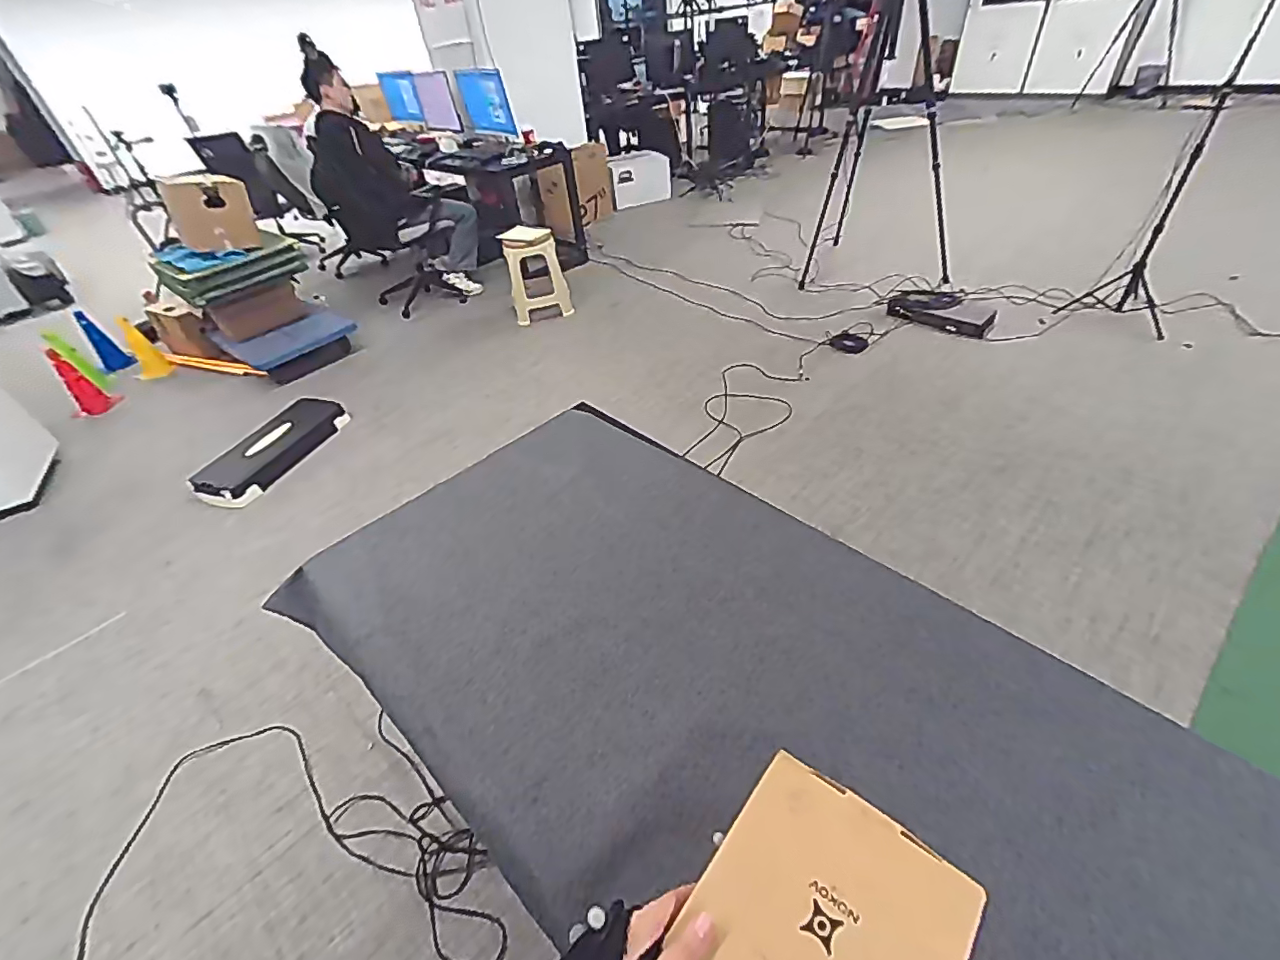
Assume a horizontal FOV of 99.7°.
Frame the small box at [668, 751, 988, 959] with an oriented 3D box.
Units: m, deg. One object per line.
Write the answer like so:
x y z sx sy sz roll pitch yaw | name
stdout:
0.140 0.368 0.431 0.168 0.176 0.179 24 51 33 | small box
